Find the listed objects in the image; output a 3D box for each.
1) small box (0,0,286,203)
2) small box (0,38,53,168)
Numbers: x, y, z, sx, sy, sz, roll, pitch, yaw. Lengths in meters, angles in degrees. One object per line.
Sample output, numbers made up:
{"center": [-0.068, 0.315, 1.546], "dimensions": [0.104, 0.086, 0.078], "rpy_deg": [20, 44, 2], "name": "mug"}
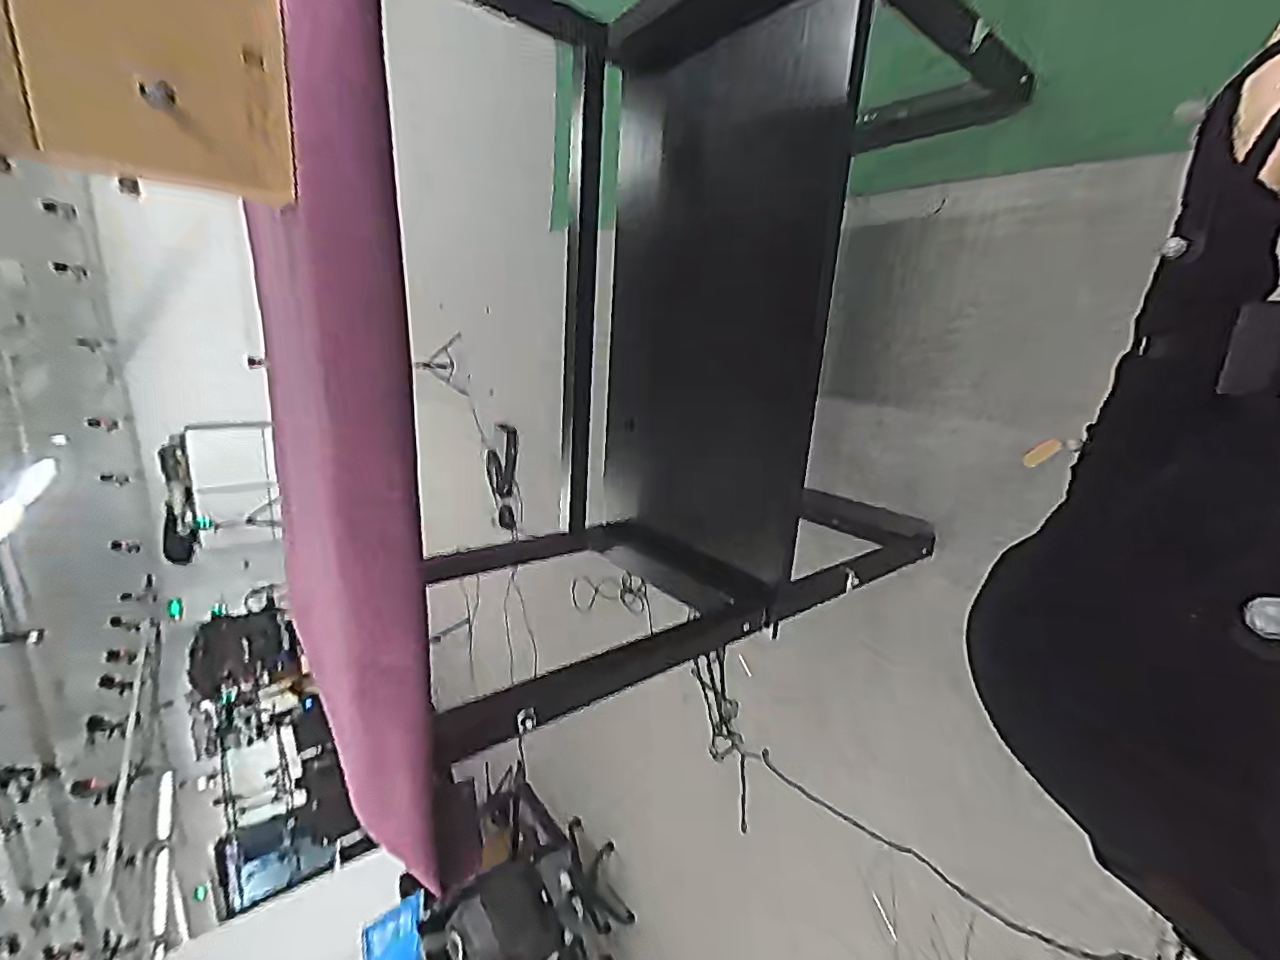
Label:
{"center": [-0.425, -0.352, 0.480], "dimensions": [0.179, 0.176, 0.168], "rpy_deg": [29, 120, 48], "name": "small box"}
{"center": [-0.557, -0.334, 0.384], "dimensions": [0.179, 0.176, 0.168], "rpy_deg": [30, 120, 46], "name": "small box"}
